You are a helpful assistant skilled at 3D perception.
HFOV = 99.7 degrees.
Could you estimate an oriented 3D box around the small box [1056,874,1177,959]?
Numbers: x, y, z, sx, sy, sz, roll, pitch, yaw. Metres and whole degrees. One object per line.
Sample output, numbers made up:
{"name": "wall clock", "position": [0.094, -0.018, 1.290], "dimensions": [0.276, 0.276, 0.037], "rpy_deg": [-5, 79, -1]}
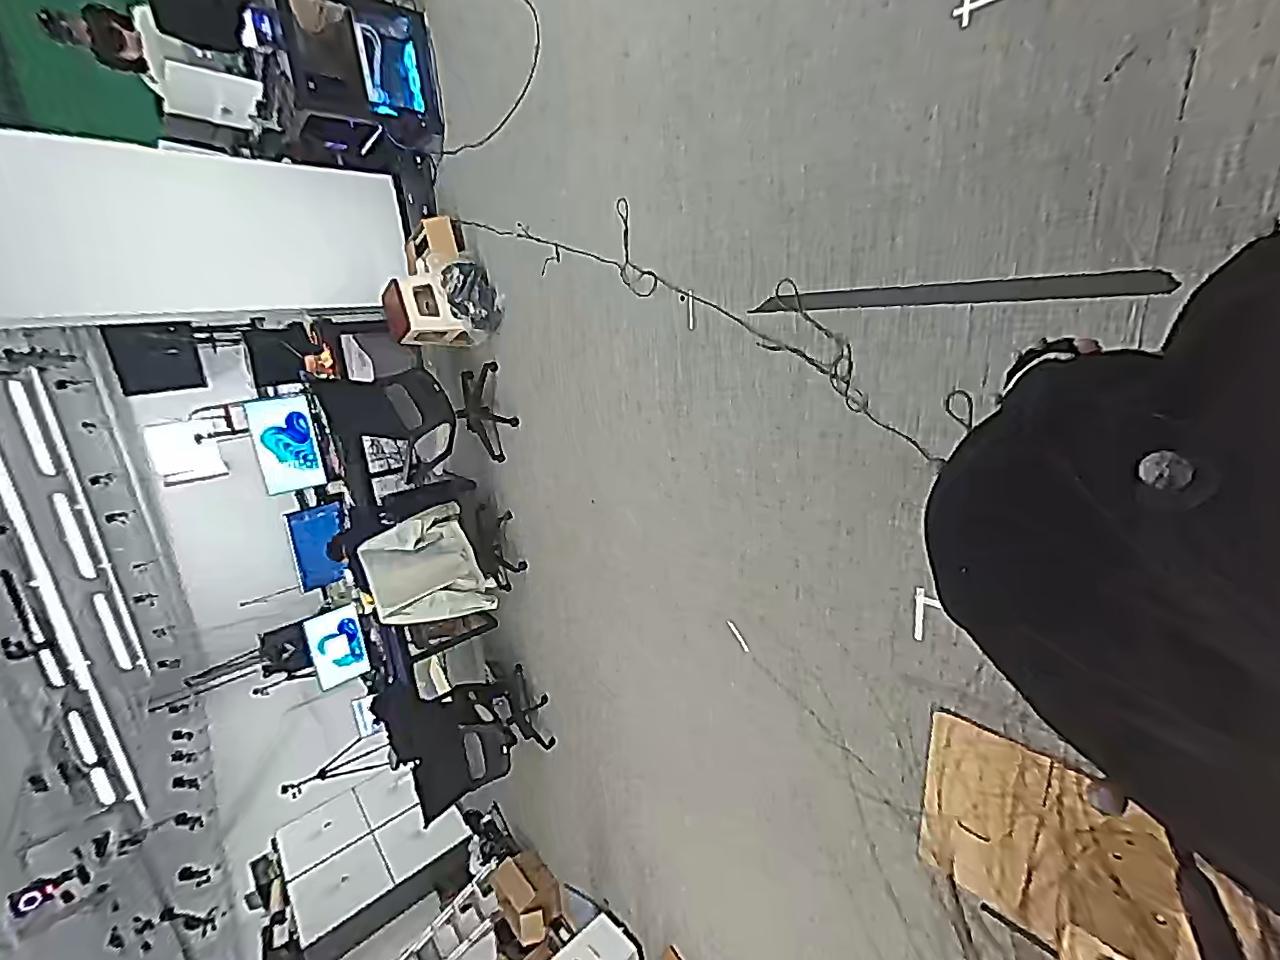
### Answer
{"name": "small box", "position": [1.042, 1.029, 1.187], "dimensions": [0.168, 0.176, 0.179], "rpy_deg": [17, 117, 47]}

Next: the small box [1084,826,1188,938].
{"name": "small box", "position": [1.167, 0.978, 1.282], "dimensions": [0.168, 0.176, 0.179], "rpy_deg": [13, 114, 48]}
